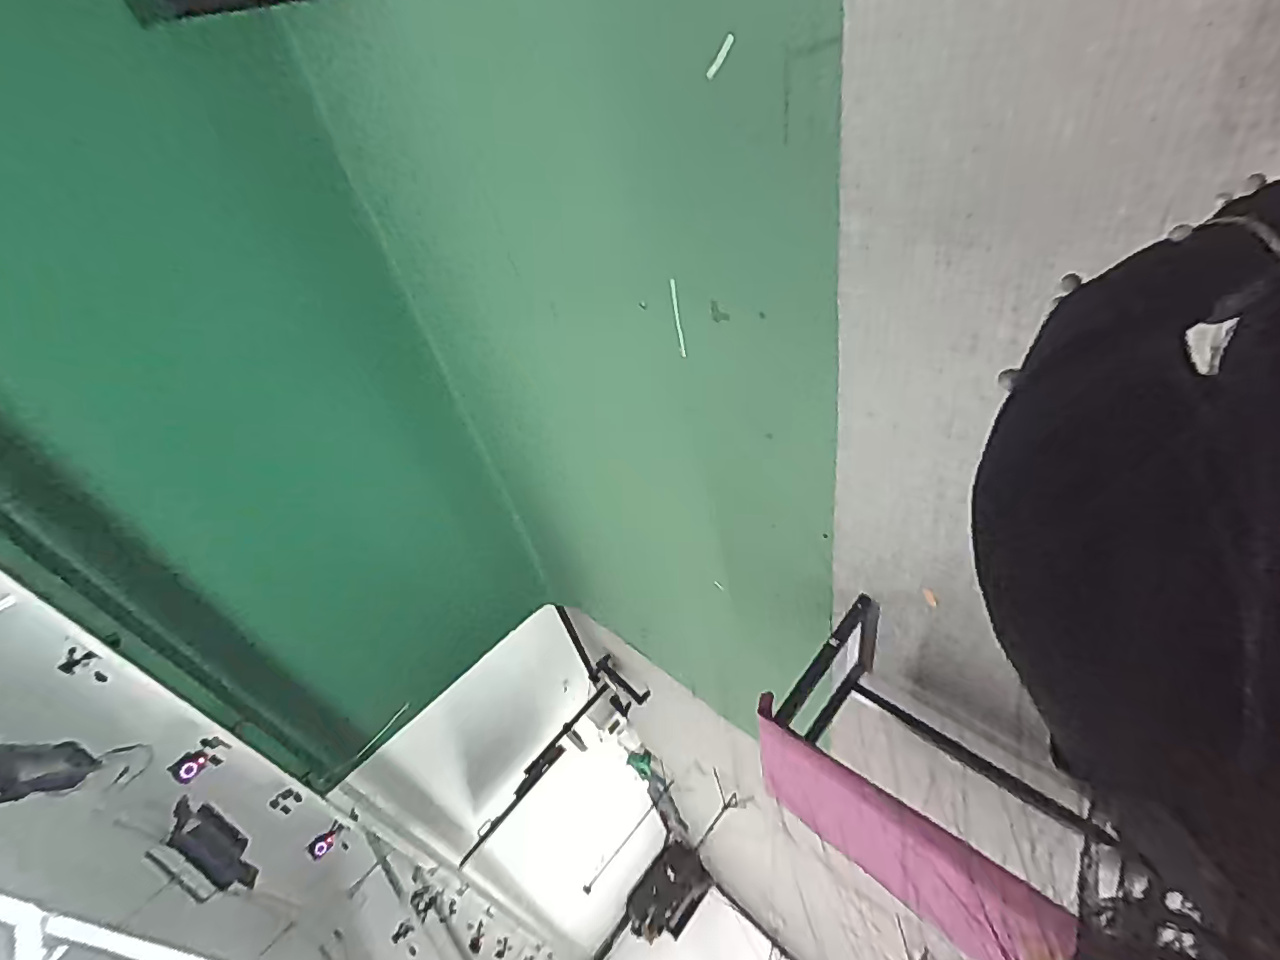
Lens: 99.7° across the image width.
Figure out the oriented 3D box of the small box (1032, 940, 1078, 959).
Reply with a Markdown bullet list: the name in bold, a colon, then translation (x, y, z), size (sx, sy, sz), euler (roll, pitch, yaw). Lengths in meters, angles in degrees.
- **small box**: translation (1.078, 1.305, 1.335), size (0.179, 0.176, 0.168), euler (-2, 123, 56)
